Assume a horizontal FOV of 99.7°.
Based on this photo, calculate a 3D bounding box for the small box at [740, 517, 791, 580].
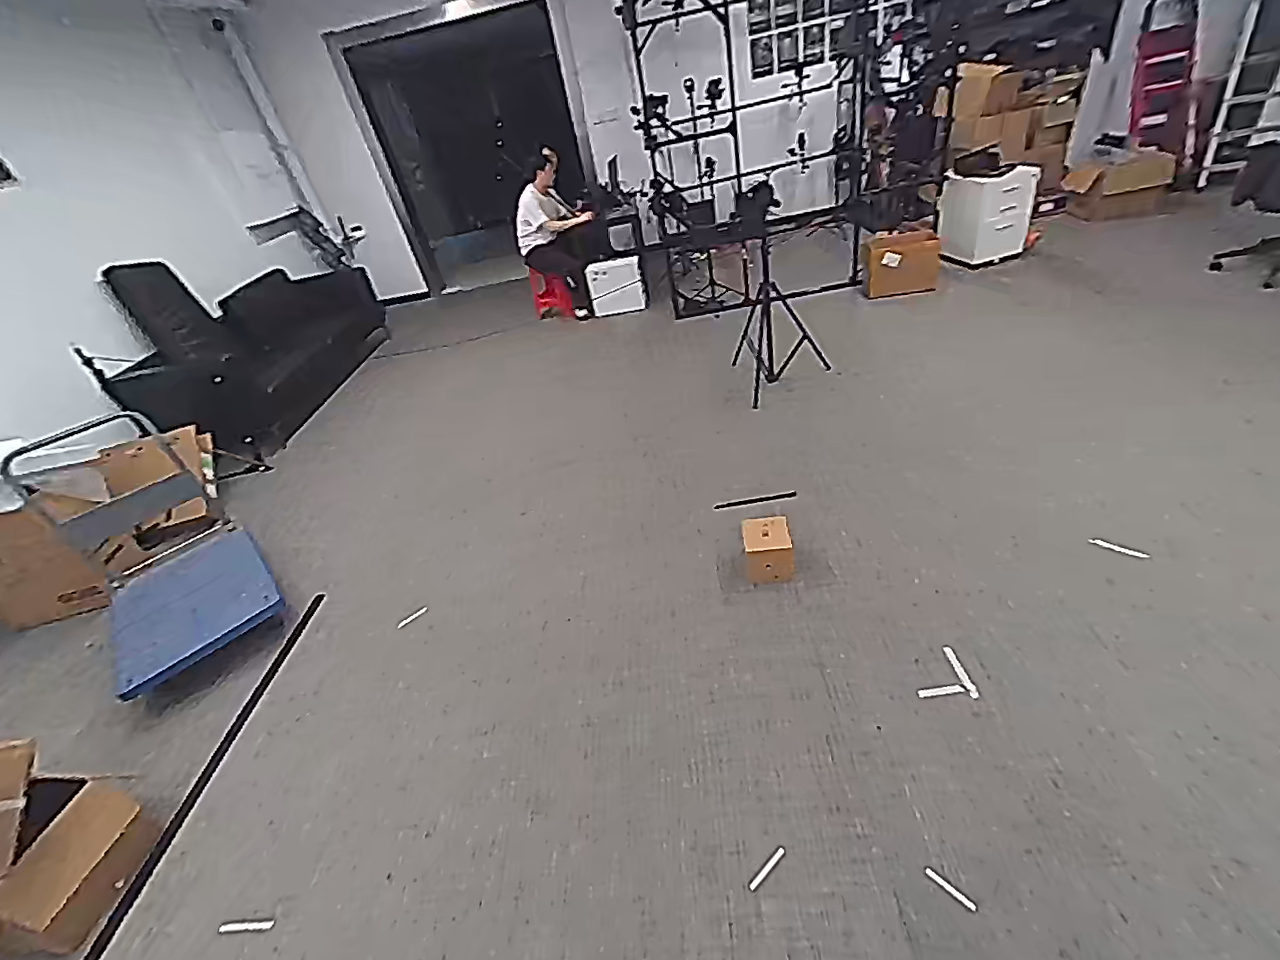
[{"bbox_3d":[0.470,0.263,2.031,0.168,0.176,0.179,-6,35,9],"label":"small box"}]
